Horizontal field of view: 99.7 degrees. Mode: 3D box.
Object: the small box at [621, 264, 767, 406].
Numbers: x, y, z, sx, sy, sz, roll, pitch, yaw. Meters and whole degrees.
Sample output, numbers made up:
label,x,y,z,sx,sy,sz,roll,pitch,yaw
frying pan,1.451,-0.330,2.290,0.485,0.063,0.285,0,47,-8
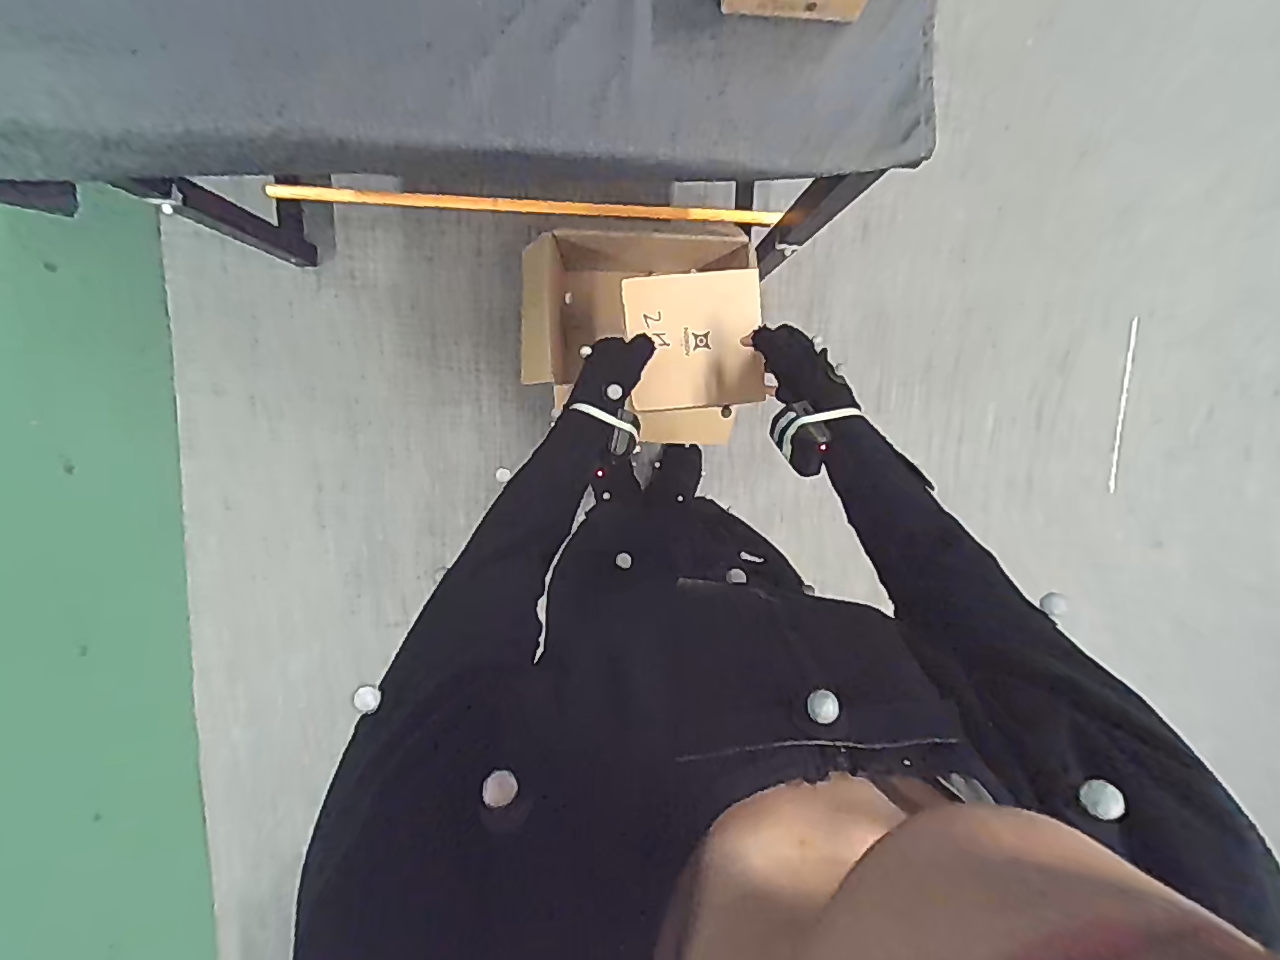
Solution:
label,x,y,z,sx,sy,sz,roll,pitch,yaw
small box,0.066,-0.190,0.748,0.179,0.176,0.168,-4,96,-2
